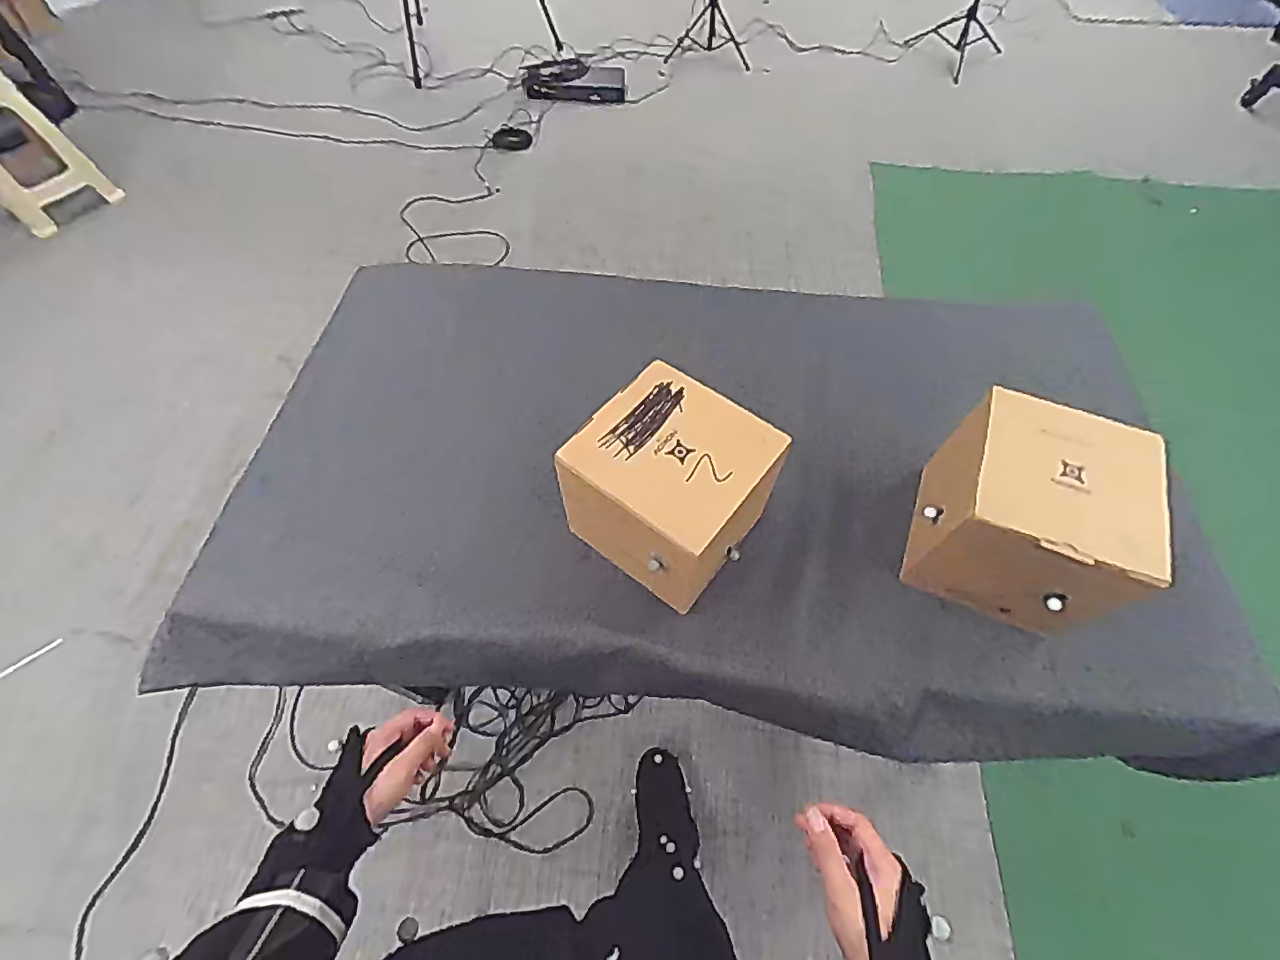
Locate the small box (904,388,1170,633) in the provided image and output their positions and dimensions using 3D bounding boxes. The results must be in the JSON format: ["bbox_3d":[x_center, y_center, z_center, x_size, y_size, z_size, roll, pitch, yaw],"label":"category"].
[{"bbox_3d":[0.408,0.039,0.582,0.168,0.176,0.179,21,59,12],"label":"small box"}]
